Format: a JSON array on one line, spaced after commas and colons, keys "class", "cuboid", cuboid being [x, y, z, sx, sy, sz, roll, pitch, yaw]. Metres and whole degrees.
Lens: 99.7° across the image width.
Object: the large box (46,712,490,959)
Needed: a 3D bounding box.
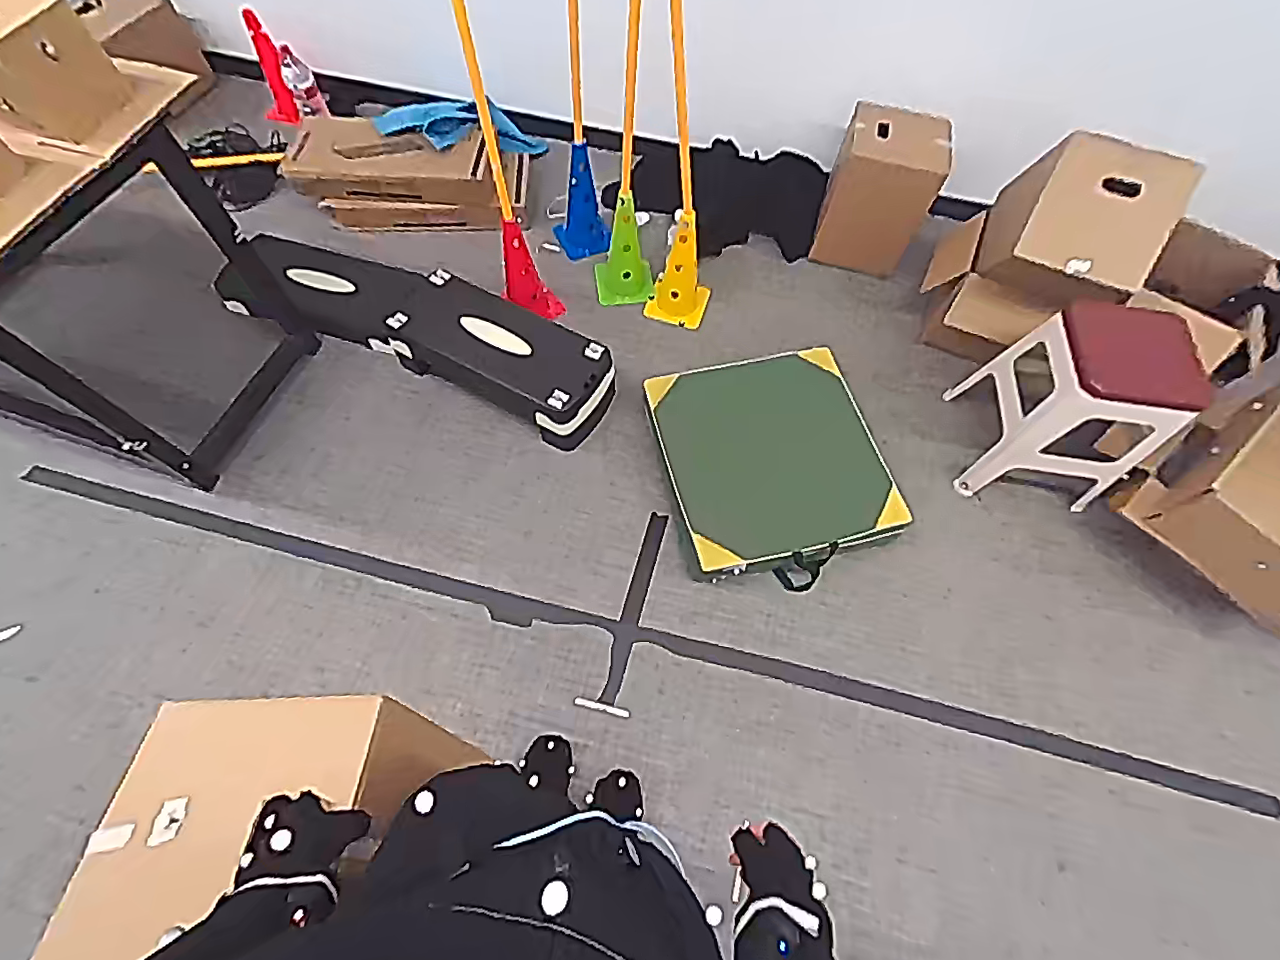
[{"class": "large box", "cuboid": [-0.448, 0.533, 0.756, 0.320, 0.408, 0.320, -1, 52, 6]}]
